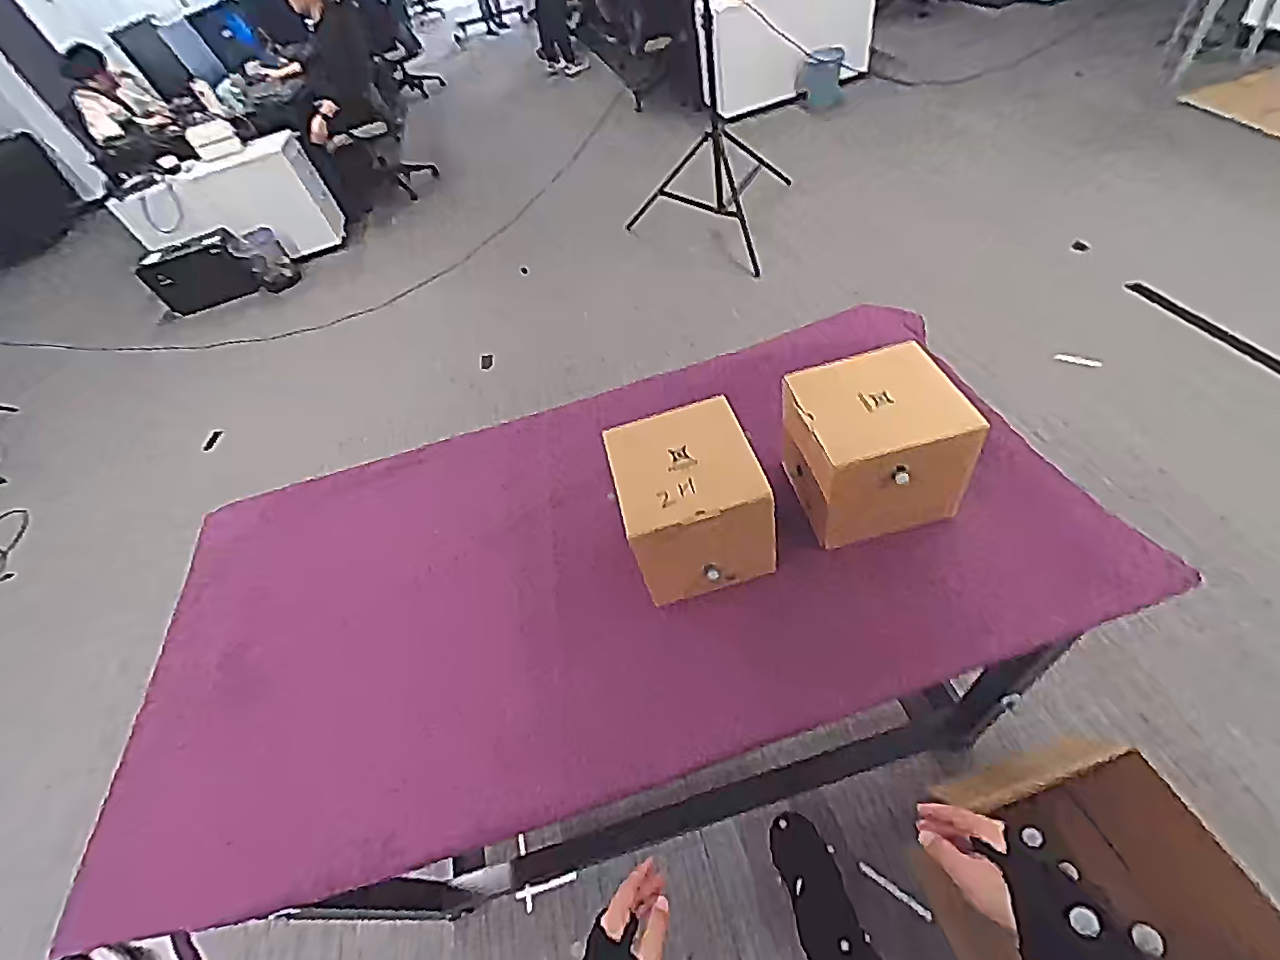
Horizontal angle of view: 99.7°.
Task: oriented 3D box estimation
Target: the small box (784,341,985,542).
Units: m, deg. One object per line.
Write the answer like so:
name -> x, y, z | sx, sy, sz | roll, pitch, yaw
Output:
small box -> 0.294, -0.045, 0.699 | 0.179, 0.176, 0.168 | -15, 48, 3

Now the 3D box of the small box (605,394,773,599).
small box -> 0.063, 0.024, 0.699 | 0.168, 0.176, 0.179 | -17, 49, 1
